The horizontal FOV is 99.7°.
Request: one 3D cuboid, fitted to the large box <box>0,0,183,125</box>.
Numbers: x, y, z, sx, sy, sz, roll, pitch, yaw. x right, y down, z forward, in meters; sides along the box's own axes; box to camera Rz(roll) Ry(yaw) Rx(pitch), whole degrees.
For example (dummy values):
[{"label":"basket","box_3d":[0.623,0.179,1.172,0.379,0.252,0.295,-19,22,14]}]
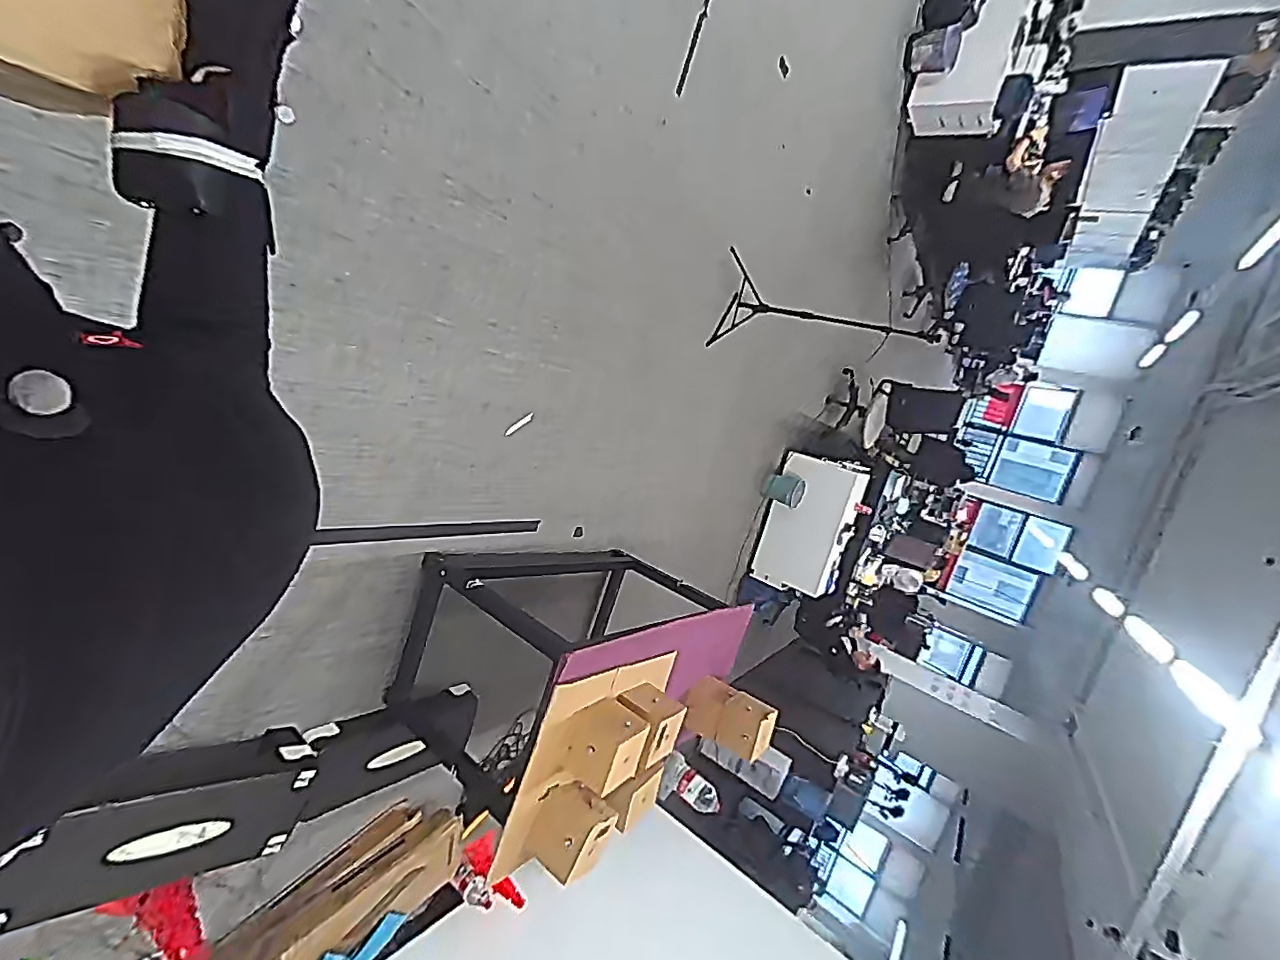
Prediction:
[{"label":"large box","box_3d":[-0.520,-0.427,0.253,0.408,0.320,0.320,-9,119,-58]}]
